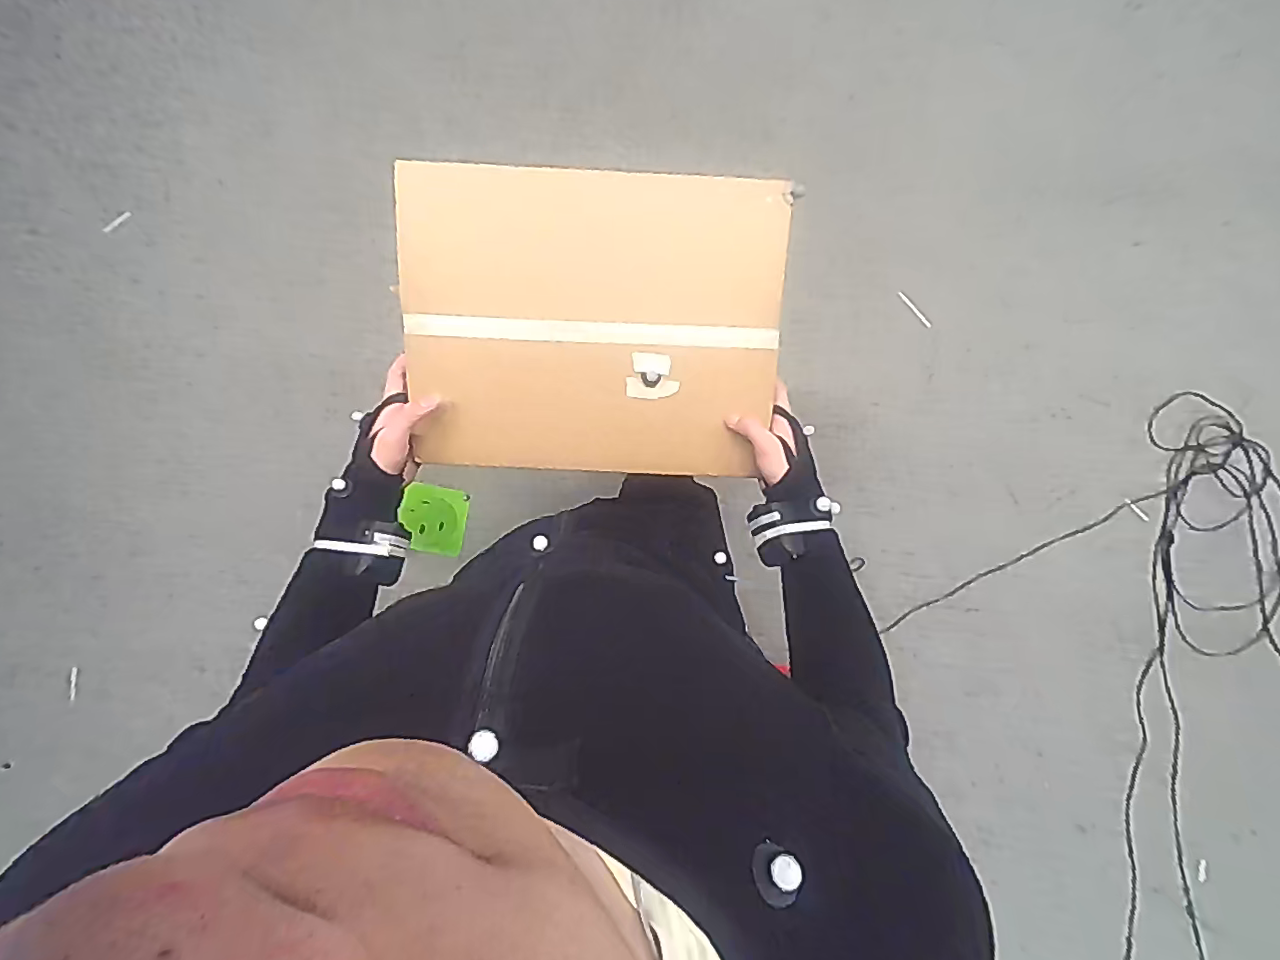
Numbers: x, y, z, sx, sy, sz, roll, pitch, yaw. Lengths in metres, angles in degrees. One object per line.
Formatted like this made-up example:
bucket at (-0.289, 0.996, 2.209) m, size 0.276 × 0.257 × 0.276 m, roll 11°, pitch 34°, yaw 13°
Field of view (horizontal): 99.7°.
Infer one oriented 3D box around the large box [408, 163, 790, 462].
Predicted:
large box at (-0.049, -0.209, 0.739) m, size 0.408 × 0.320 × 0.320 m, roll 2°, pitch 105°, yaw -2°

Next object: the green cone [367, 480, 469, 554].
green cone at (-0.627, 0.121, 1.455) m, size 0.200 × 0.368 × 0.202 m, roll 11°, pitch 93°, yaw 1°
